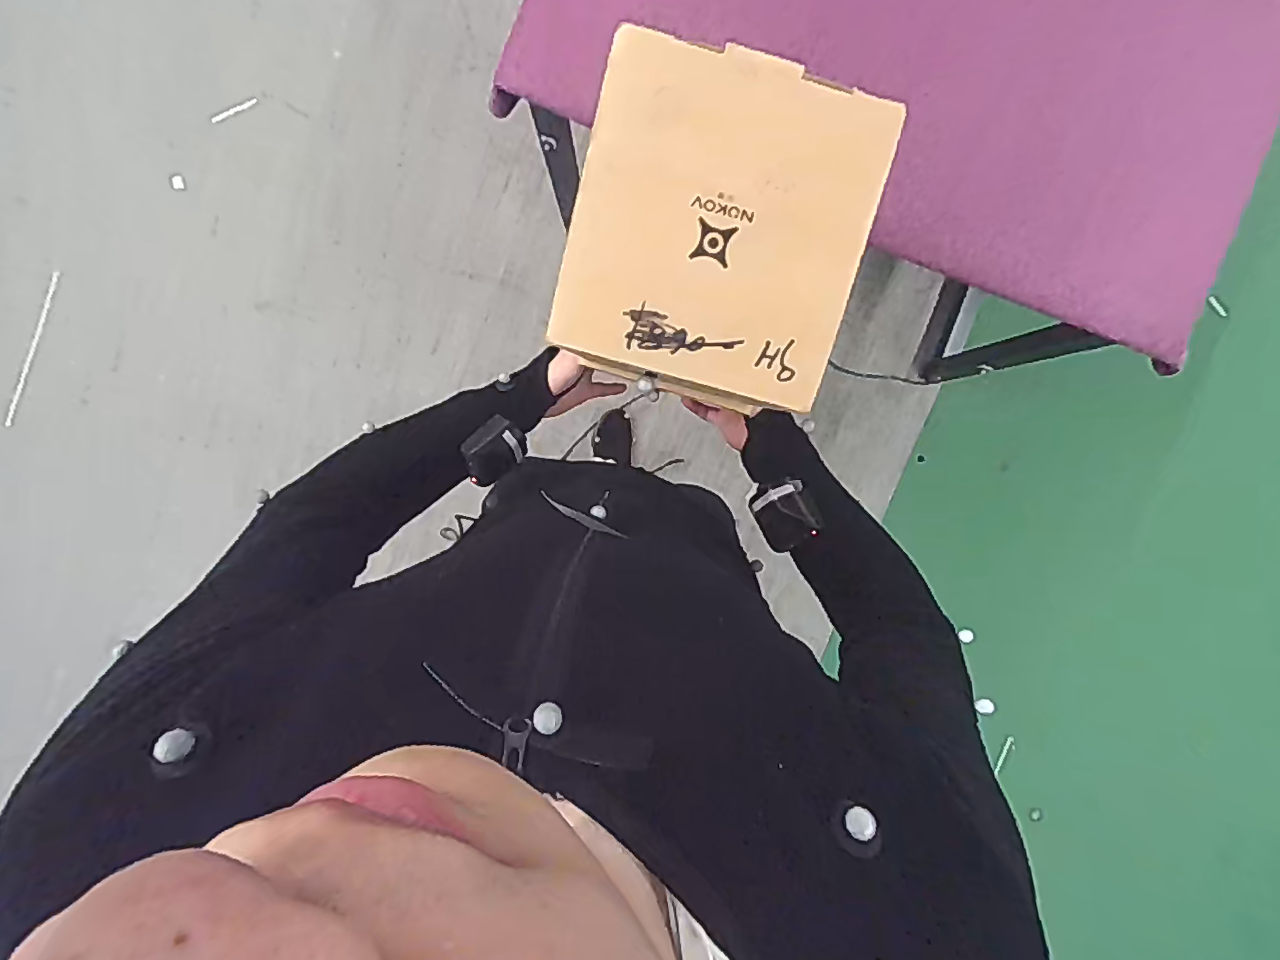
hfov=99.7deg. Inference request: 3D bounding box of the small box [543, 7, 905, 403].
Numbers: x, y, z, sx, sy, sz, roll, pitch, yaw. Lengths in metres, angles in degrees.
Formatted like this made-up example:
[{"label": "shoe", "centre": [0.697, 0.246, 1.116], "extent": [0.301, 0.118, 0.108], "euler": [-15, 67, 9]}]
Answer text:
[{"label": "small box", "centre": [0.045, -0.161, 0.380], "extent": [0.168, 0.176, 0.179], "euler": [15, 100, -1]}]
